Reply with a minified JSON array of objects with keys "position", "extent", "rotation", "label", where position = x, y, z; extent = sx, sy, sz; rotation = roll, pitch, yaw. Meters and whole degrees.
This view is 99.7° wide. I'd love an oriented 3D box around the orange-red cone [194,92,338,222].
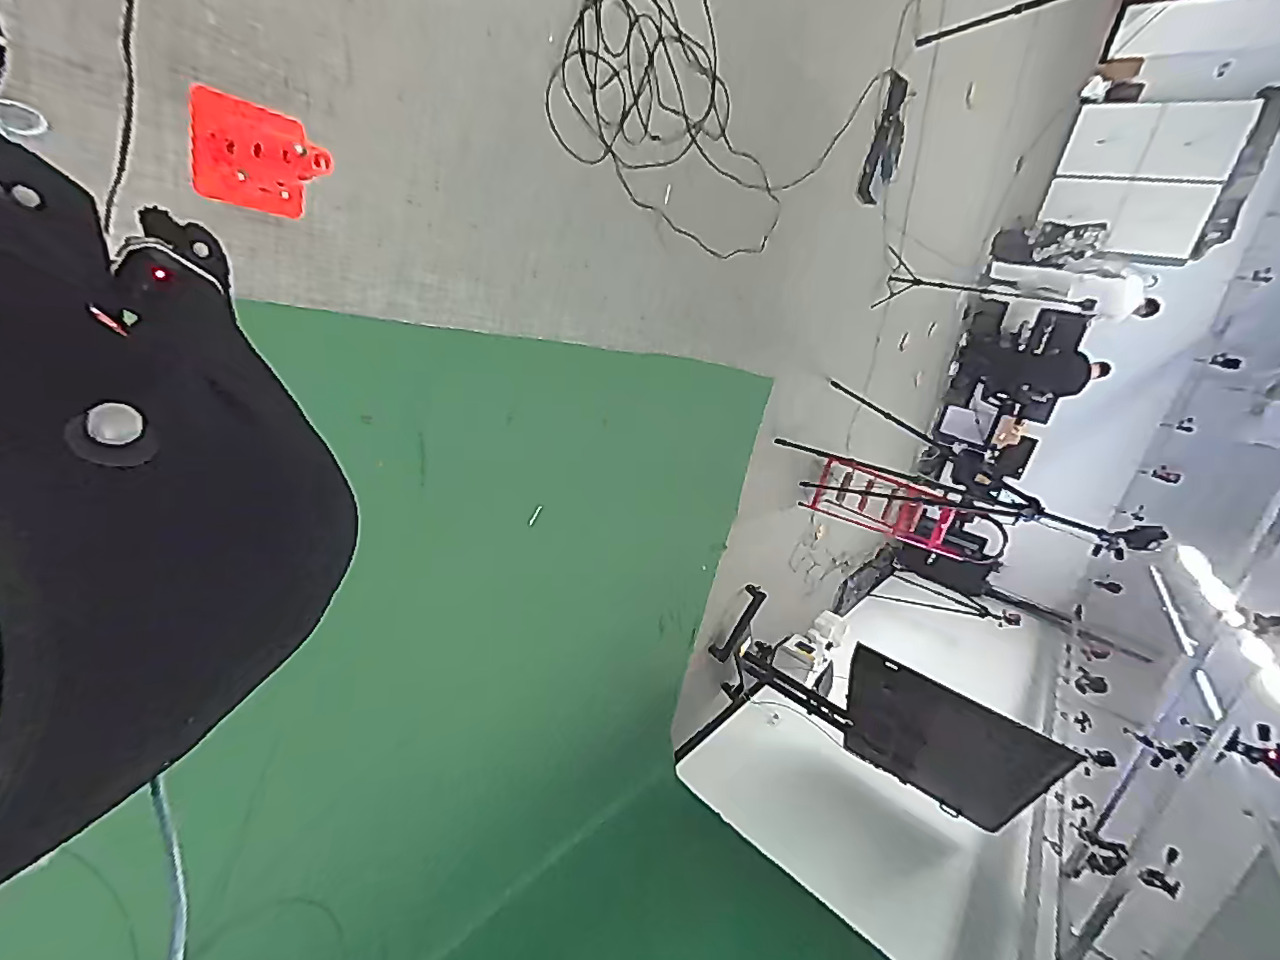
[{"position":[-0.680,-0.609,1.037],"extent":[0.198,0.360,0.199],"rotation":[-9,116,-51],"label":"orange-red cone"}]
